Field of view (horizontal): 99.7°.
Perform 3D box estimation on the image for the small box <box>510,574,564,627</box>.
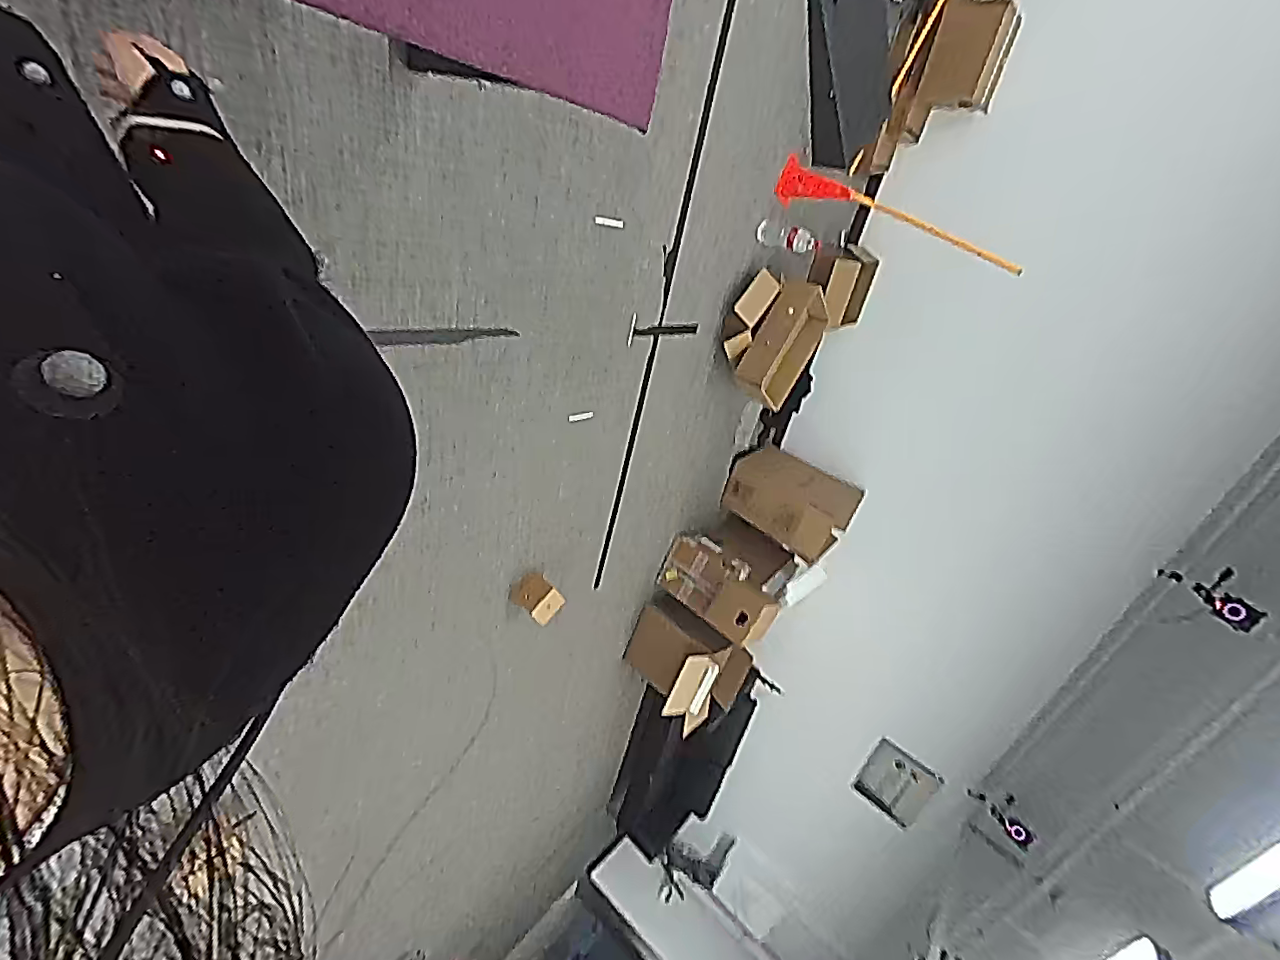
[{"bbox_3d":[-0.513,0.593,2.675,0.168,0.176,0.179,-47,150,-17],"label":"small box"}]
